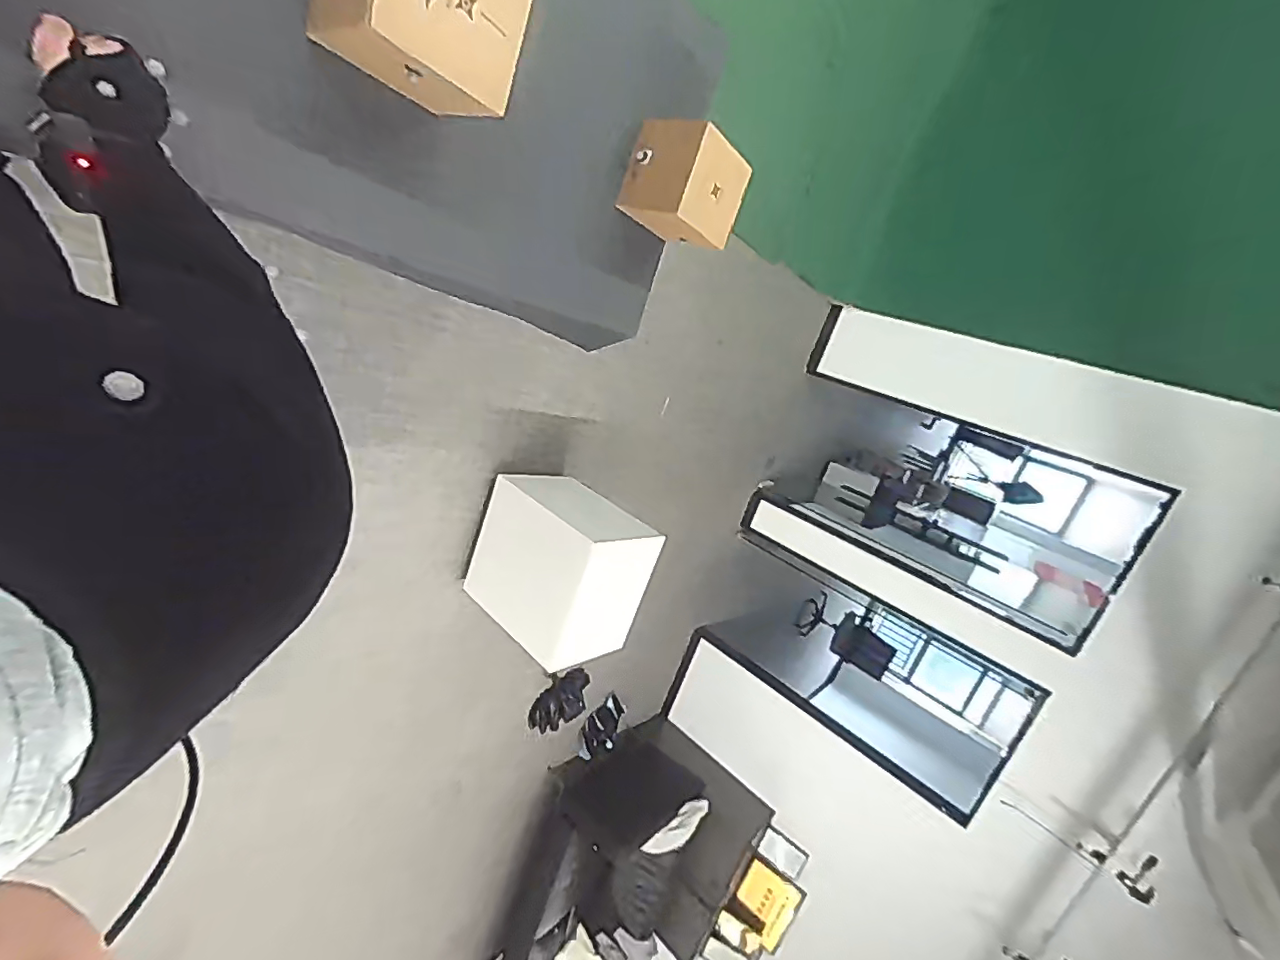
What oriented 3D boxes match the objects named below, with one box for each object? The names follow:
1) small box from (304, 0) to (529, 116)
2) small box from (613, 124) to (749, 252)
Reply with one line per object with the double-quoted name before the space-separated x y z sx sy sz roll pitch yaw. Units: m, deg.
"small box" -0.260 -0.560 0.633 0.179 0.176 0.168 0 114 -54
"small box" 0.079 -0.576 1.067 0.179 0.176 0.168 3 110 -52
